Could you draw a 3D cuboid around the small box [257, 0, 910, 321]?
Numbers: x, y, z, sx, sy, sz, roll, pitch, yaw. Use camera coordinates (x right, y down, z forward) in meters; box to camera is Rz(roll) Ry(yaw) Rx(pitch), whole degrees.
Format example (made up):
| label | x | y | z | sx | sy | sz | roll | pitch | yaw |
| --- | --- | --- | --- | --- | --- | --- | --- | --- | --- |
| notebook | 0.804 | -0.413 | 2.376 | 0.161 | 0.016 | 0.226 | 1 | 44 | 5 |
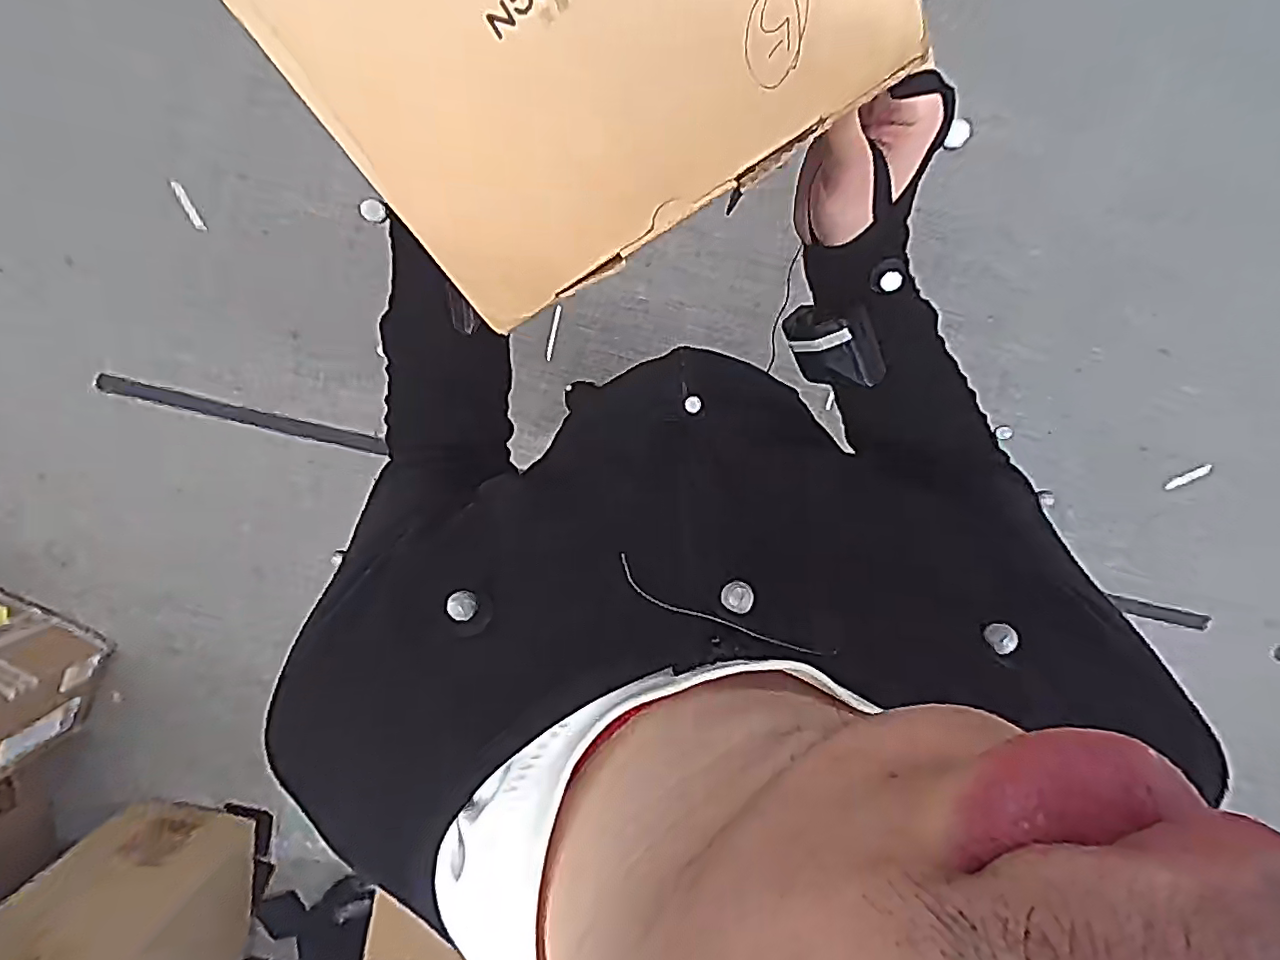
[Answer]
| label | x | y | z | sx | sy | sz | roll | pitch | yaw |
| --- | --- | --- | --- | --- | --- | --- | --- | --- | --- |
| small box | -0.020 | -0.202 | 0.214 | 0.168 | 0.176 | 0.179 | -24 | 120 | 25 |
